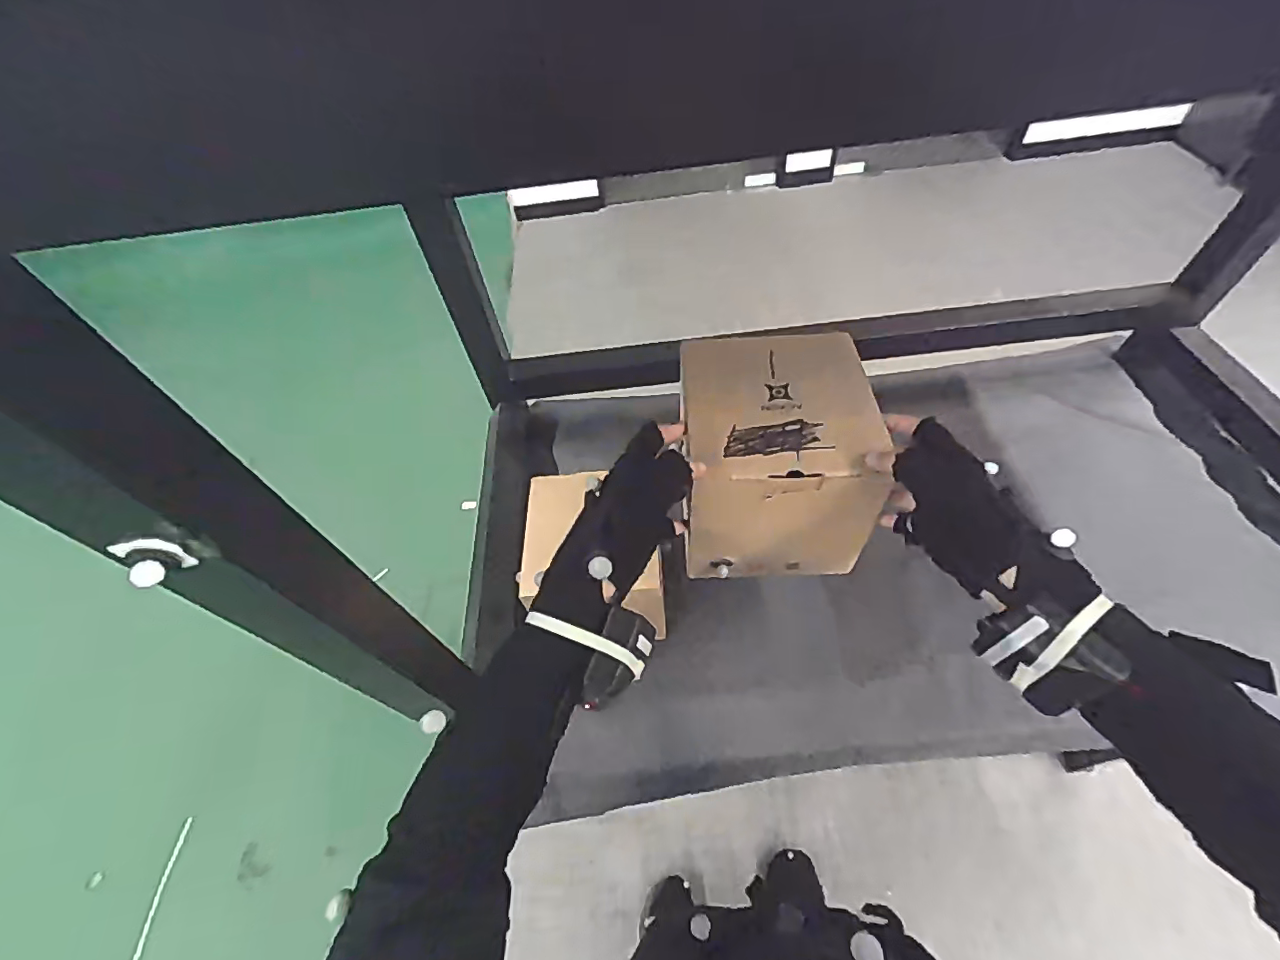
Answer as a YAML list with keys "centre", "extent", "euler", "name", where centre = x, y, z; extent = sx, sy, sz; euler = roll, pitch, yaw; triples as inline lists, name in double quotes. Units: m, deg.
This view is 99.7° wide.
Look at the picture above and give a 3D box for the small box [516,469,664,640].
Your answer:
- centre: [-0.055, 0.107, 0.725]
  extent: [0.168, 0.176, 0.179]
  euler: [-3, 53, 3]
  name: "small box"
